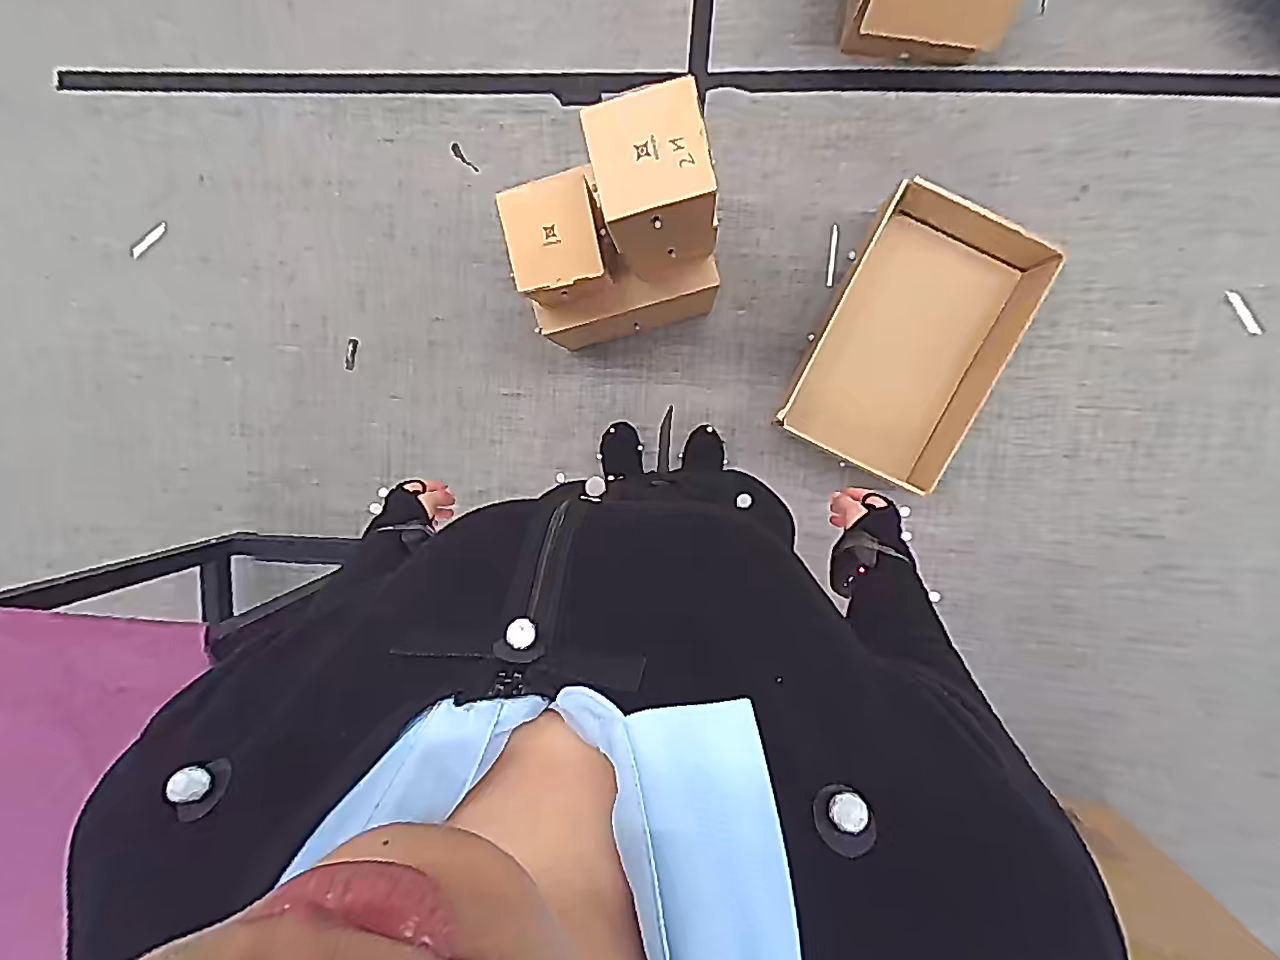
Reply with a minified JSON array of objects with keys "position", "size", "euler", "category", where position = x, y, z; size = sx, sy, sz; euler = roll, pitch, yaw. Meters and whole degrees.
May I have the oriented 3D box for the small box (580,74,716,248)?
[{"position":[0.020,-0.494,0.868],"size":[0.179,0.176,0.168],"euler":[-12,97,6],"category":"small box"}]
